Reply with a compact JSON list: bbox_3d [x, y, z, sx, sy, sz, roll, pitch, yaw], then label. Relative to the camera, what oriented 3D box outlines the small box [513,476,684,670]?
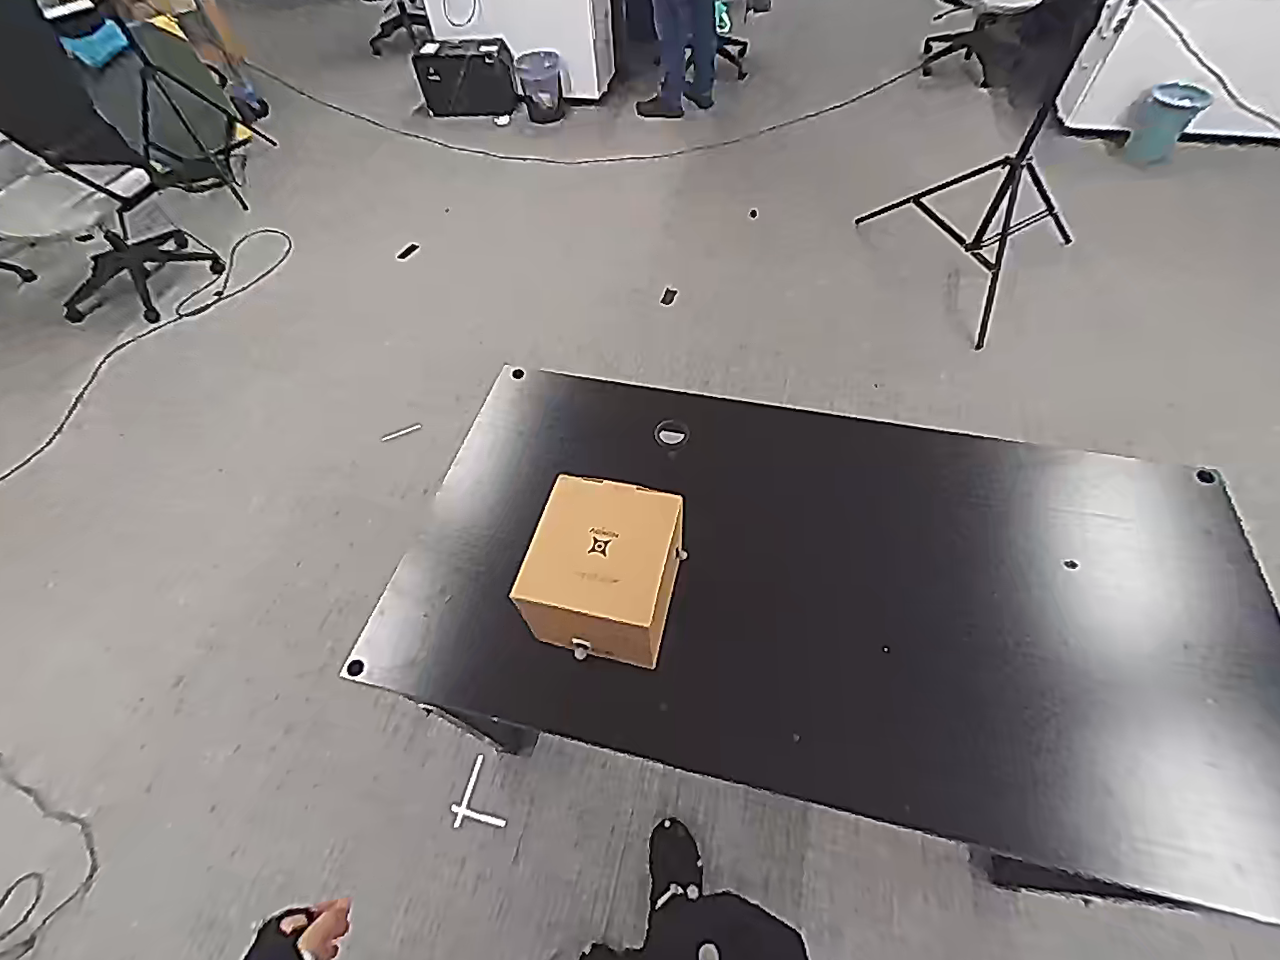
[{"bbox_3d":[-0.041,0.123,0.701,0.168,0.176,0.179,9,57,11],"label":"small box"}]
